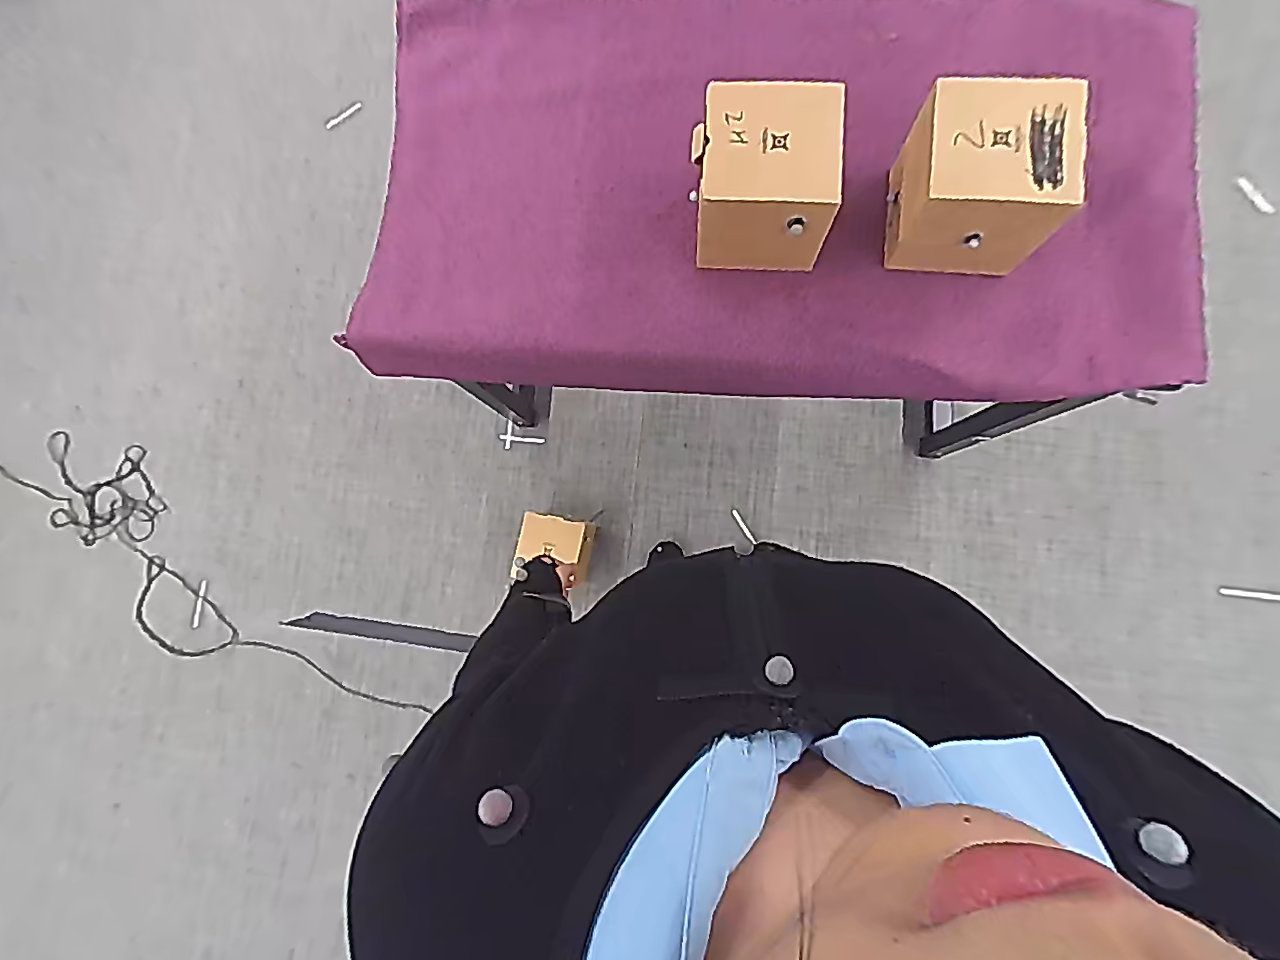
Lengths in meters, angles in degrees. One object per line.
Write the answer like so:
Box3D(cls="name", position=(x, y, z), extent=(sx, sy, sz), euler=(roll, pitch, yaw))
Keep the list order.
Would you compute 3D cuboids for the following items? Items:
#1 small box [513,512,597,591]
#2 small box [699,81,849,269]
Box3D(cls="small box", position=(-0.222, 0.191, 1.461), extent=(0.168, 0.176, 0.179), euler=(11, 84, 6))
Box3D(cls="small box", position=(0.177, -0.414, 0.757), extent=(0.179, 0.176, 0.168), euler=(4, 83, 6))
